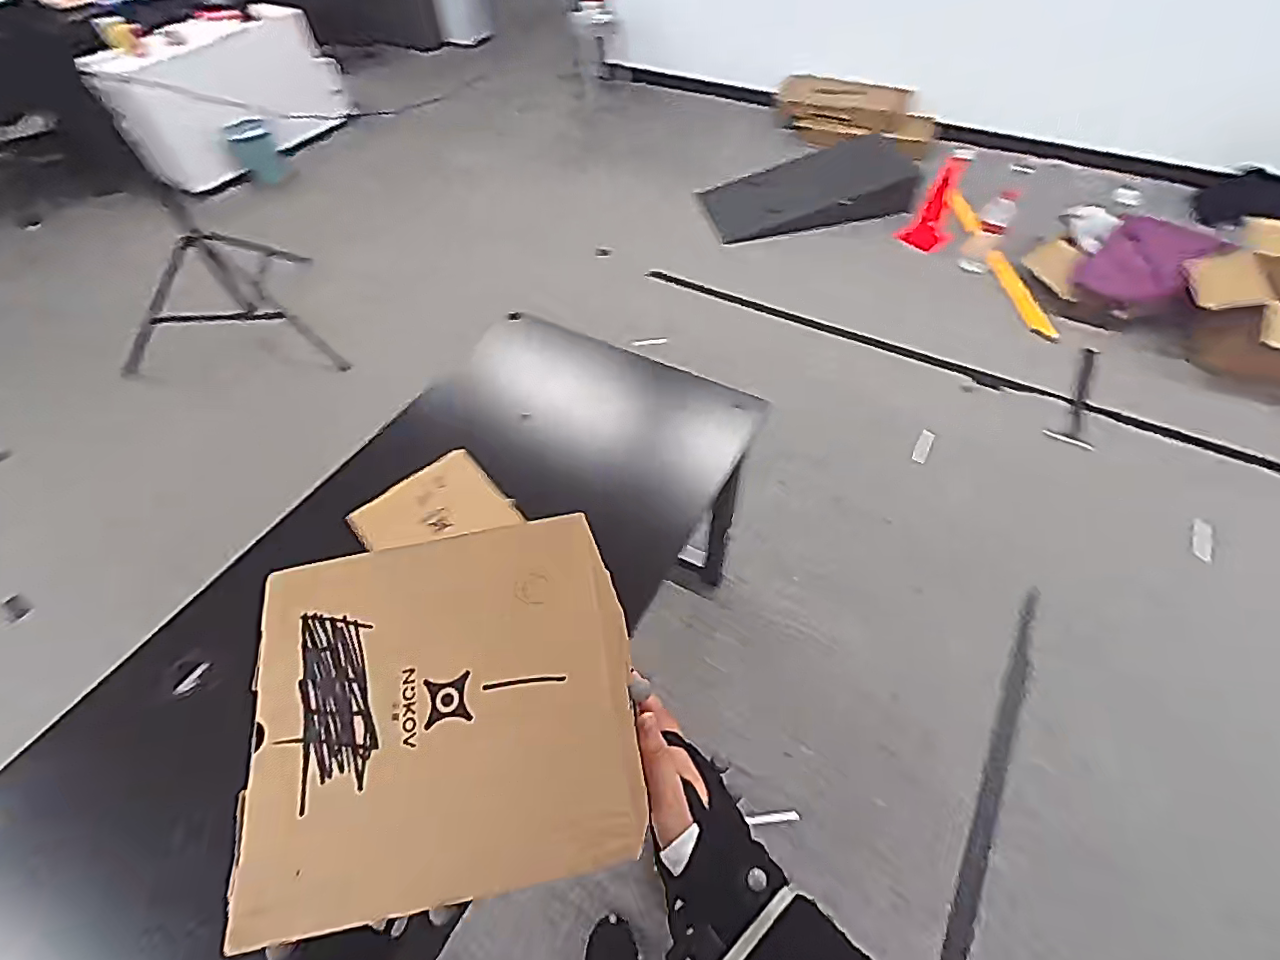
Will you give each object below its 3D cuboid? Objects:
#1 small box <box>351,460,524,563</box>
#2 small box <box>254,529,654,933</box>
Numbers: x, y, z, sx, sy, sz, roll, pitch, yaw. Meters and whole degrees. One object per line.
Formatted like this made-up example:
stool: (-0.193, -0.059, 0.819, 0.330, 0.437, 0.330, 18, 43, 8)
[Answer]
small box: (-0.257, 0.113, 0.758, 0.168, 0.176, 0.179, -36, 60, -22)
small box: (-0.090, 0.148, 0.342, 0.179, 0.176, 0.168, -9, 64, -2)
